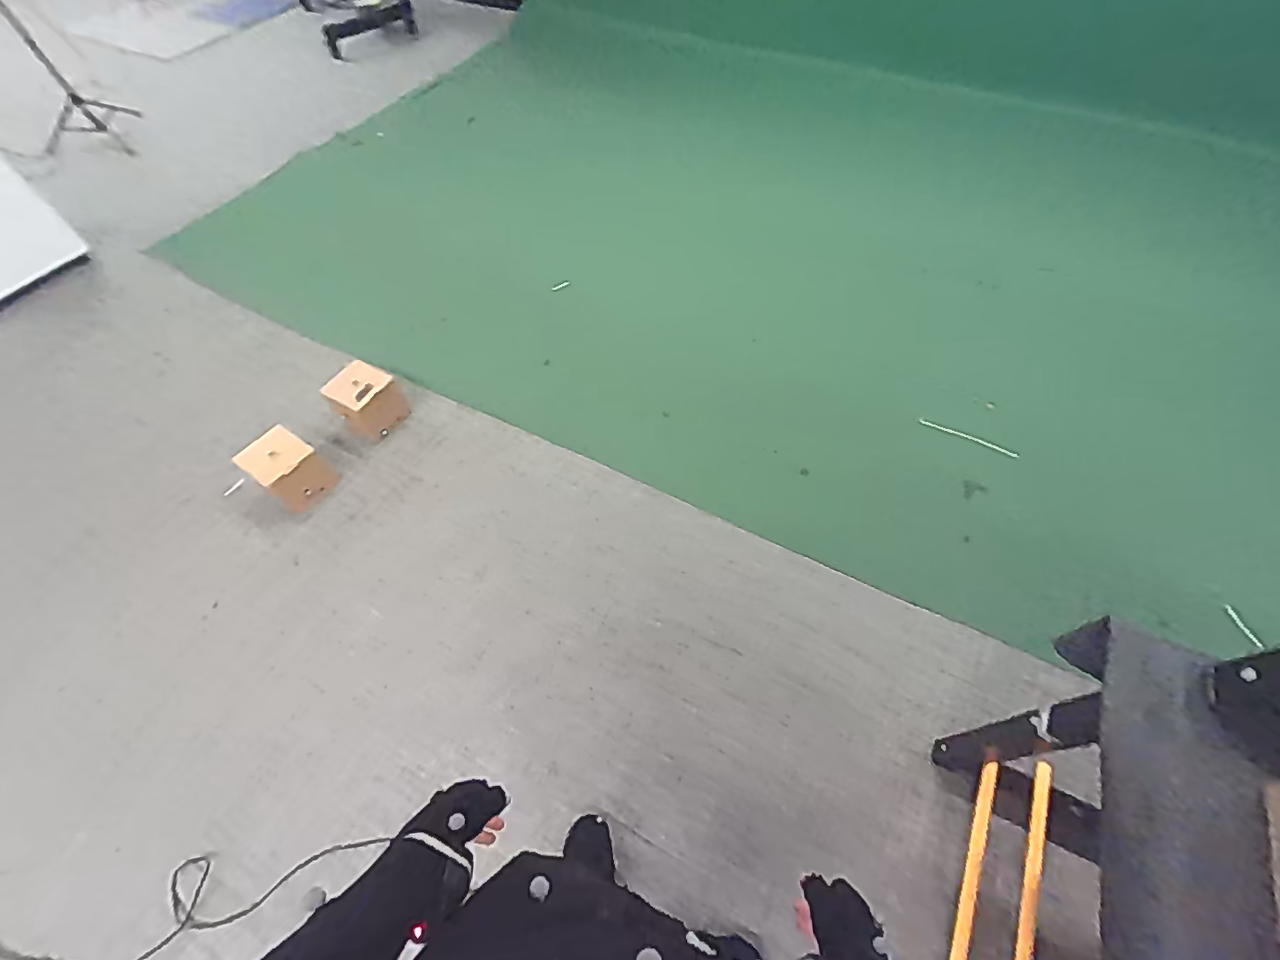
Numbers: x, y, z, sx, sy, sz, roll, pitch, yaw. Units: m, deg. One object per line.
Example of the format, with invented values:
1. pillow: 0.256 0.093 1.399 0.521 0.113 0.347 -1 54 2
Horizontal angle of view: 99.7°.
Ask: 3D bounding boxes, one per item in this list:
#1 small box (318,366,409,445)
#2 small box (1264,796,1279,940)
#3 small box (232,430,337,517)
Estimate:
1. small box: -0.910 -0.242 1.798 0.179 0.176 0.168 25 60 17
2. small box: 0.752 0.402 0.491 0.179 0.176 0.168 22 60 14
3. small box: -1.077 -0.014 1.651 0.179 0.176 0.168 30 62 18
